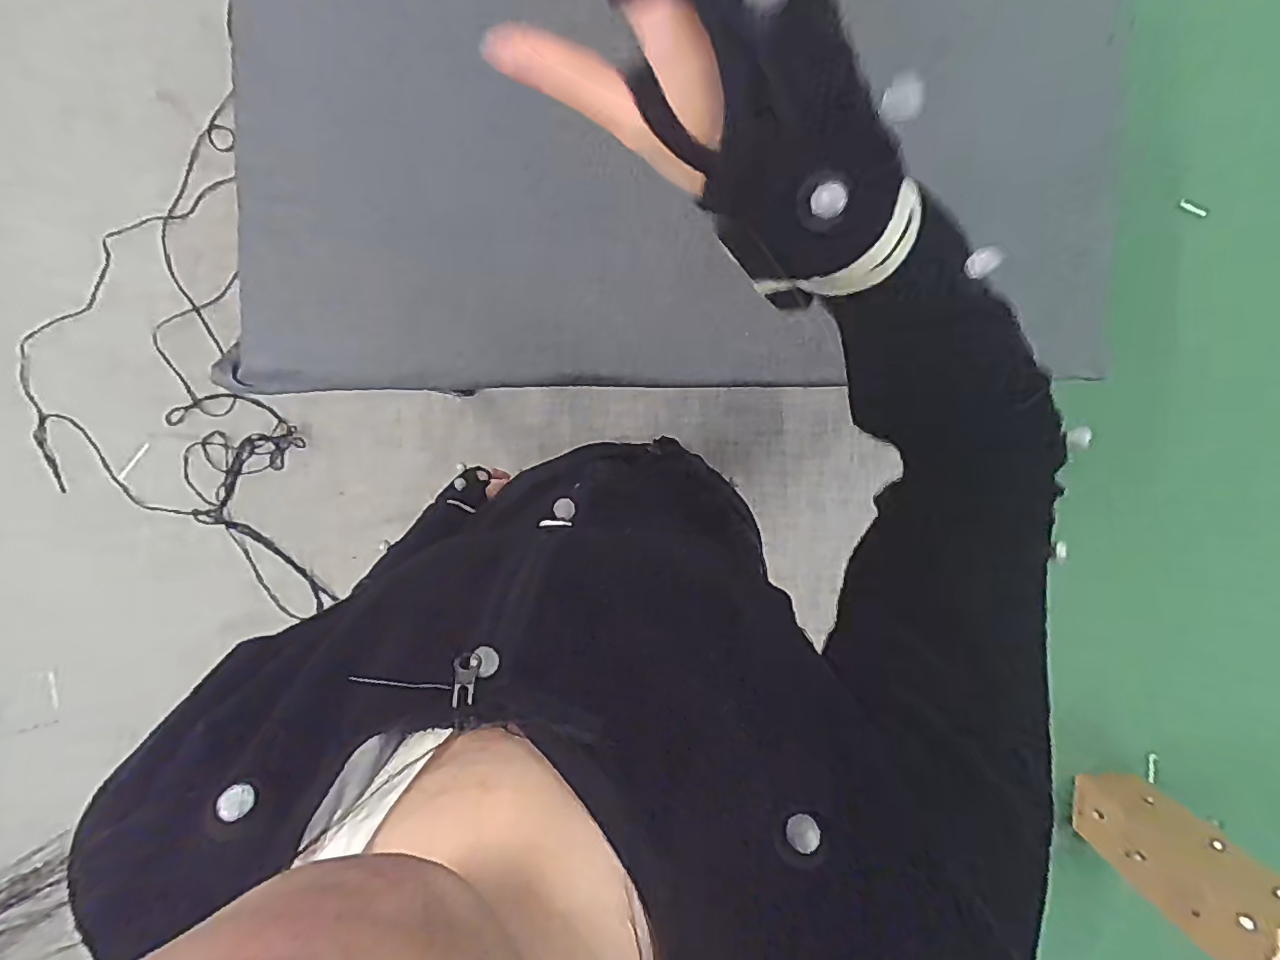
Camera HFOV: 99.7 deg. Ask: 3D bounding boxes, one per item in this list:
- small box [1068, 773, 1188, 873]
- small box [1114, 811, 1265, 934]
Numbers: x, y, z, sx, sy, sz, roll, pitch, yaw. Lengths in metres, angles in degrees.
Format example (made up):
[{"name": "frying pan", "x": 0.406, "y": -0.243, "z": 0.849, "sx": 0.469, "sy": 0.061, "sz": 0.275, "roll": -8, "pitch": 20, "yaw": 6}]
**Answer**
[{"name": "small box", "x": 1.279, "y": 0.901, "z": 1.430, "sx": 0.179, "sy": 0.176, "sz": 0.168, "roll": 0, "pitch": 93, "yaw": 1}, {"name": "small box", "x": 1.275, "y": 0.908, "z": 1.265, "sx": 0.179, "sy": 0.176, "sz": 0.168, "roll": 3, "pitch": 93, "yaw": 2}]
